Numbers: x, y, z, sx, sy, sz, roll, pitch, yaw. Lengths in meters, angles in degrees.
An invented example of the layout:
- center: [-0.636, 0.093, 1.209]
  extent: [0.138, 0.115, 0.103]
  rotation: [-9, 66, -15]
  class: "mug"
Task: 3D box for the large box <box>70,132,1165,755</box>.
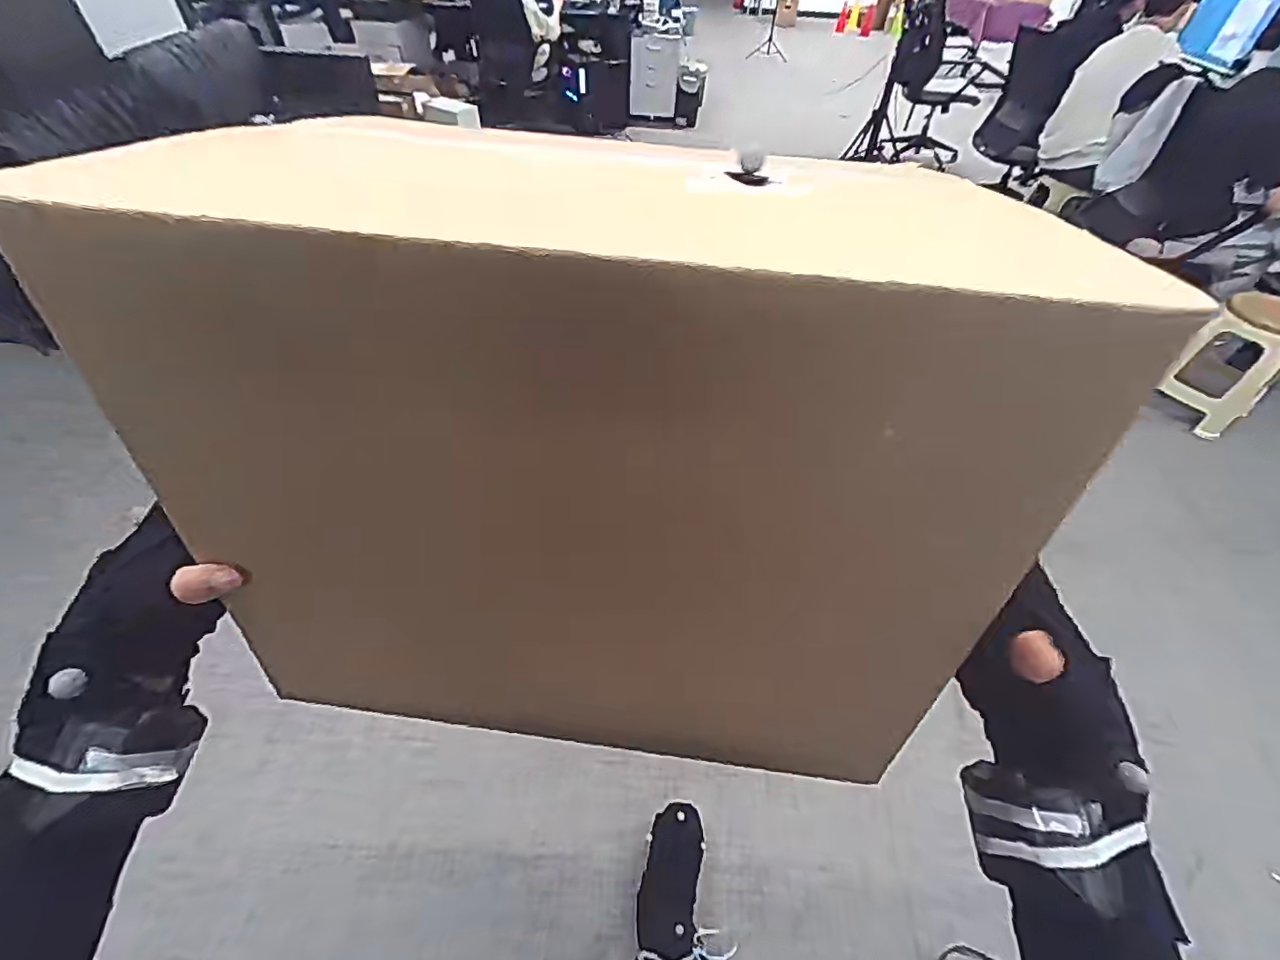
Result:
- center: [-0.012, -0.044, 0.398]
  extent: [0.408, 0.320, 0.320]
  rotation: [8, 38, 2]
  class: "large box"
